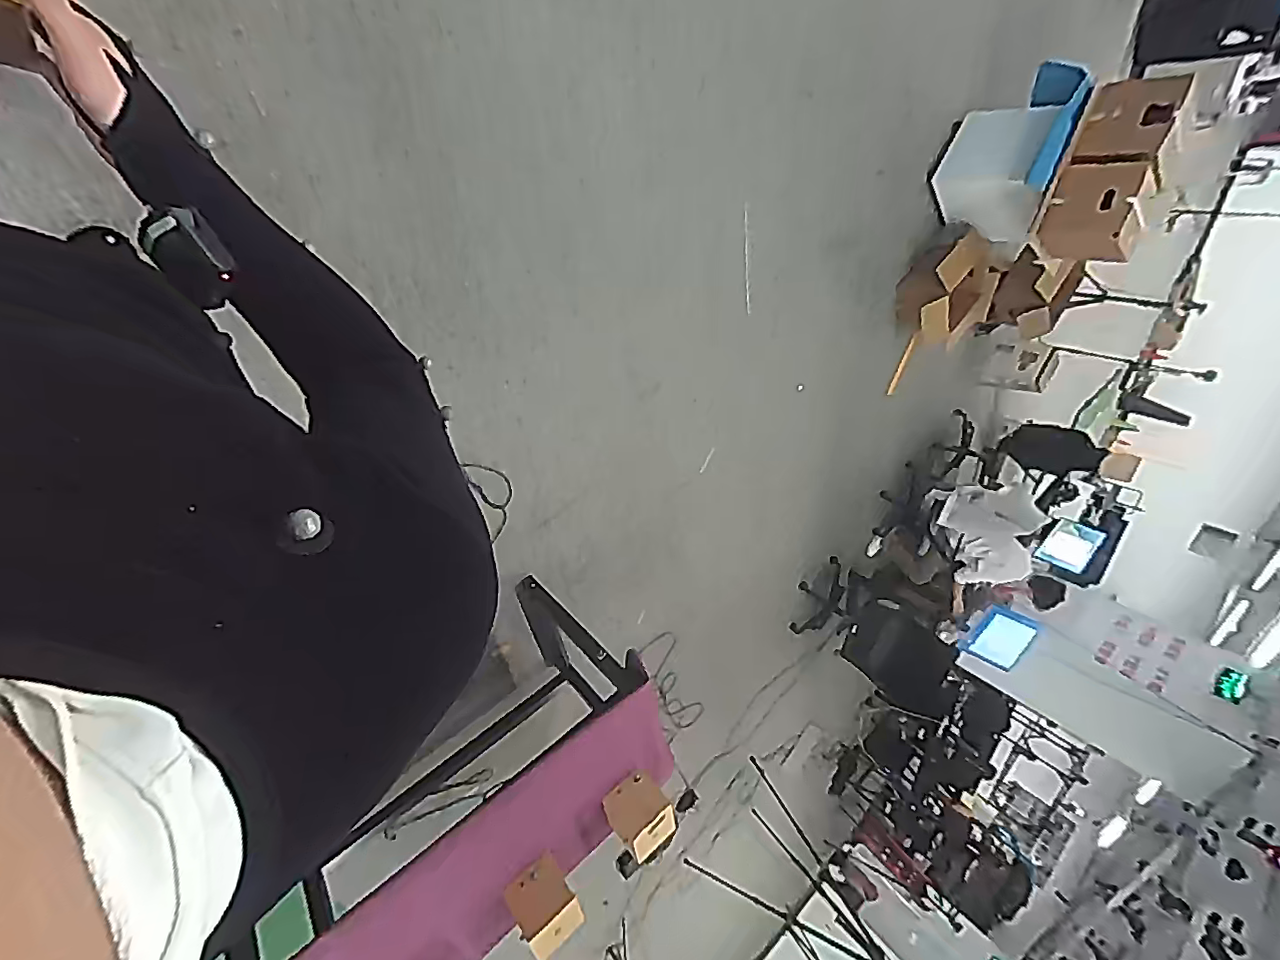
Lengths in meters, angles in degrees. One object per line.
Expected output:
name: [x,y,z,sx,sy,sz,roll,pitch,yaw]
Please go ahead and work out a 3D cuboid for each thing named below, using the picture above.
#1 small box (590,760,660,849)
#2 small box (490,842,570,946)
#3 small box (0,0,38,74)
small box: [-0.054,1.100,1.849,0.168,0.176,0.179,-30,131,-29]
small box: [-0.341,1.276,1.678,0.168,0.176,0.179,-29,130,-31]
small box: [-0.528,-0.407,0.345,0.168,0.176,0.179,-12,112,-42]
